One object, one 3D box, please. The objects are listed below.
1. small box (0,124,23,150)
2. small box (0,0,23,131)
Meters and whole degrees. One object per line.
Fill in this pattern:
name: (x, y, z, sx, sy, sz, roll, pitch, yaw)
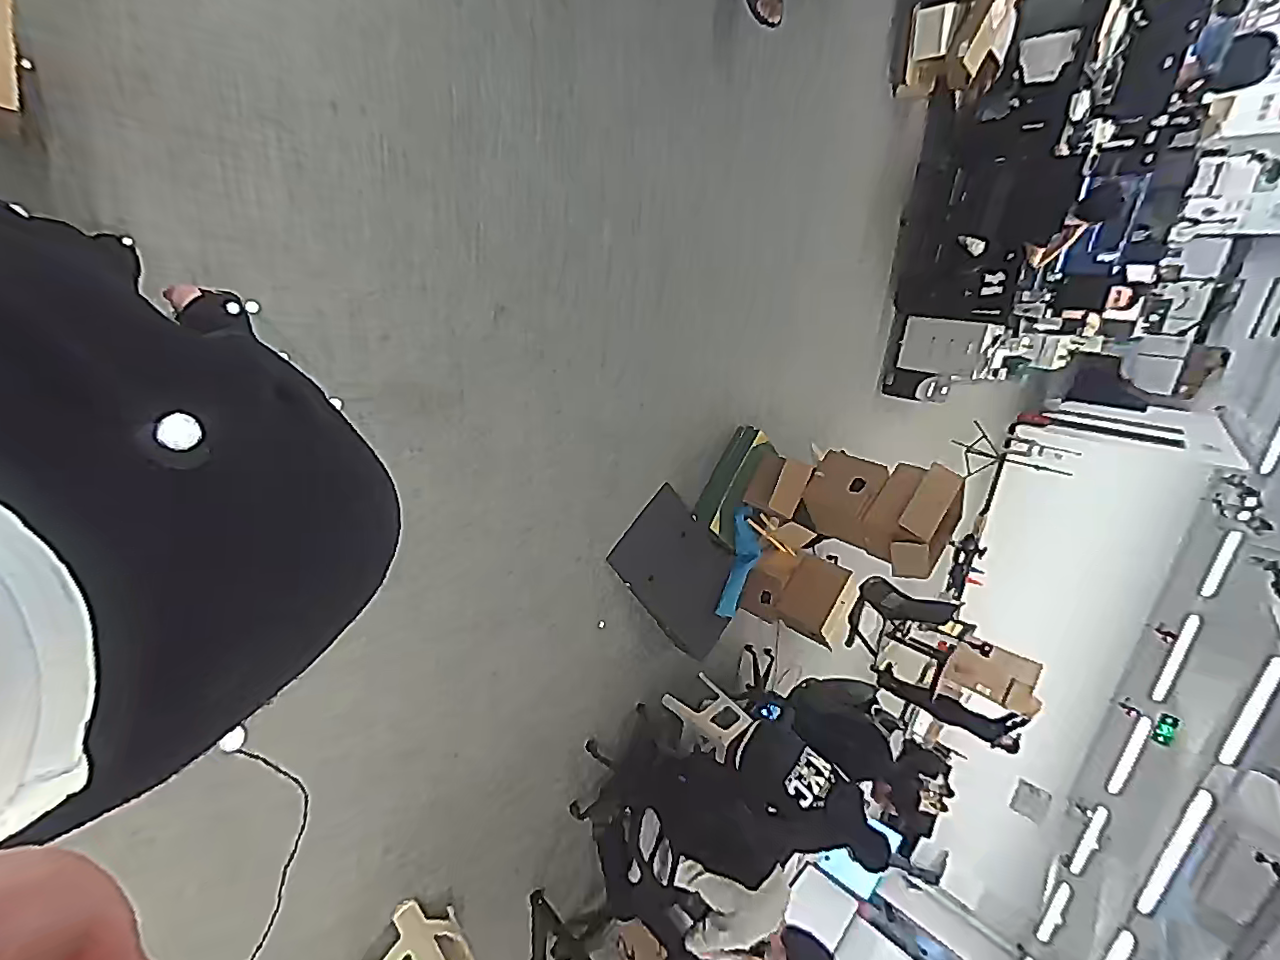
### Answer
small box: (-1.098, -0.647, 0.844, 0.168, 0.176, 0.179, -5, 109, -48)
small box: (-0.975, -0.613, 0.739, 0.168, 0.176, 0.179, -3, 108, -48)
